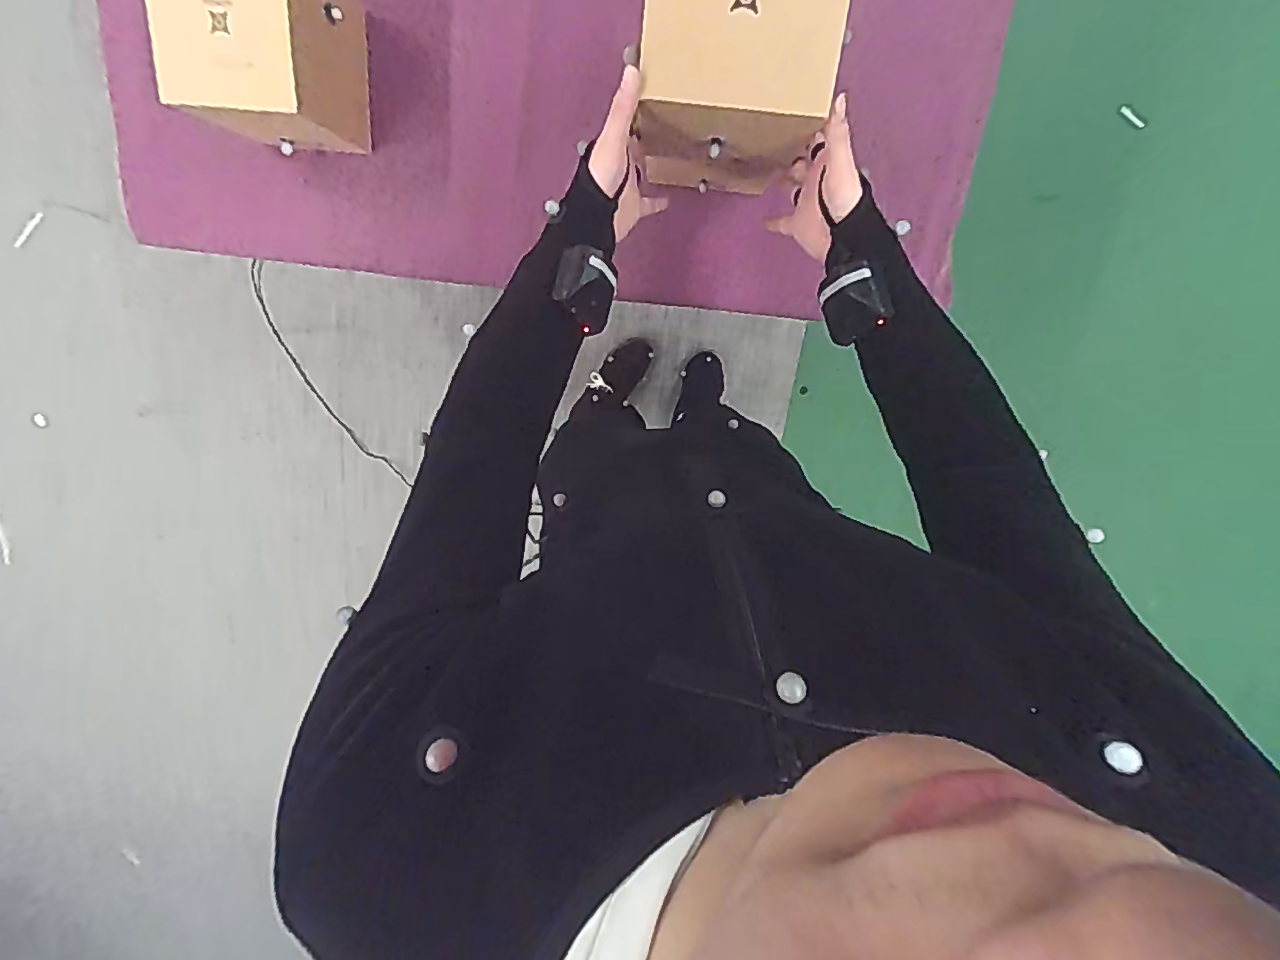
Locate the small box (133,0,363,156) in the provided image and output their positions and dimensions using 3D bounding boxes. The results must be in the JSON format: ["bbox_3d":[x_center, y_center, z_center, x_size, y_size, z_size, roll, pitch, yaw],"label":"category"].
[{"bbox_3d":[-0.463,-0.526,0.661,0.168,0.176,0.179,6,107,1],"label":"small box"}]

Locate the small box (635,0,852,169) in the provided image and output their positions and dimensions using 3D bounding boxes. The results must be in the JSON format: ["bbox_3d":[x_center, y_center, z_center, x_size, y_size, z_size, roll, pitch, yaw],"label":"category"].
[{"bbox_3d":[0.090,-0.409,0.501,0.168,0.176,0.179,7,106,0],"label":"small box"}]
